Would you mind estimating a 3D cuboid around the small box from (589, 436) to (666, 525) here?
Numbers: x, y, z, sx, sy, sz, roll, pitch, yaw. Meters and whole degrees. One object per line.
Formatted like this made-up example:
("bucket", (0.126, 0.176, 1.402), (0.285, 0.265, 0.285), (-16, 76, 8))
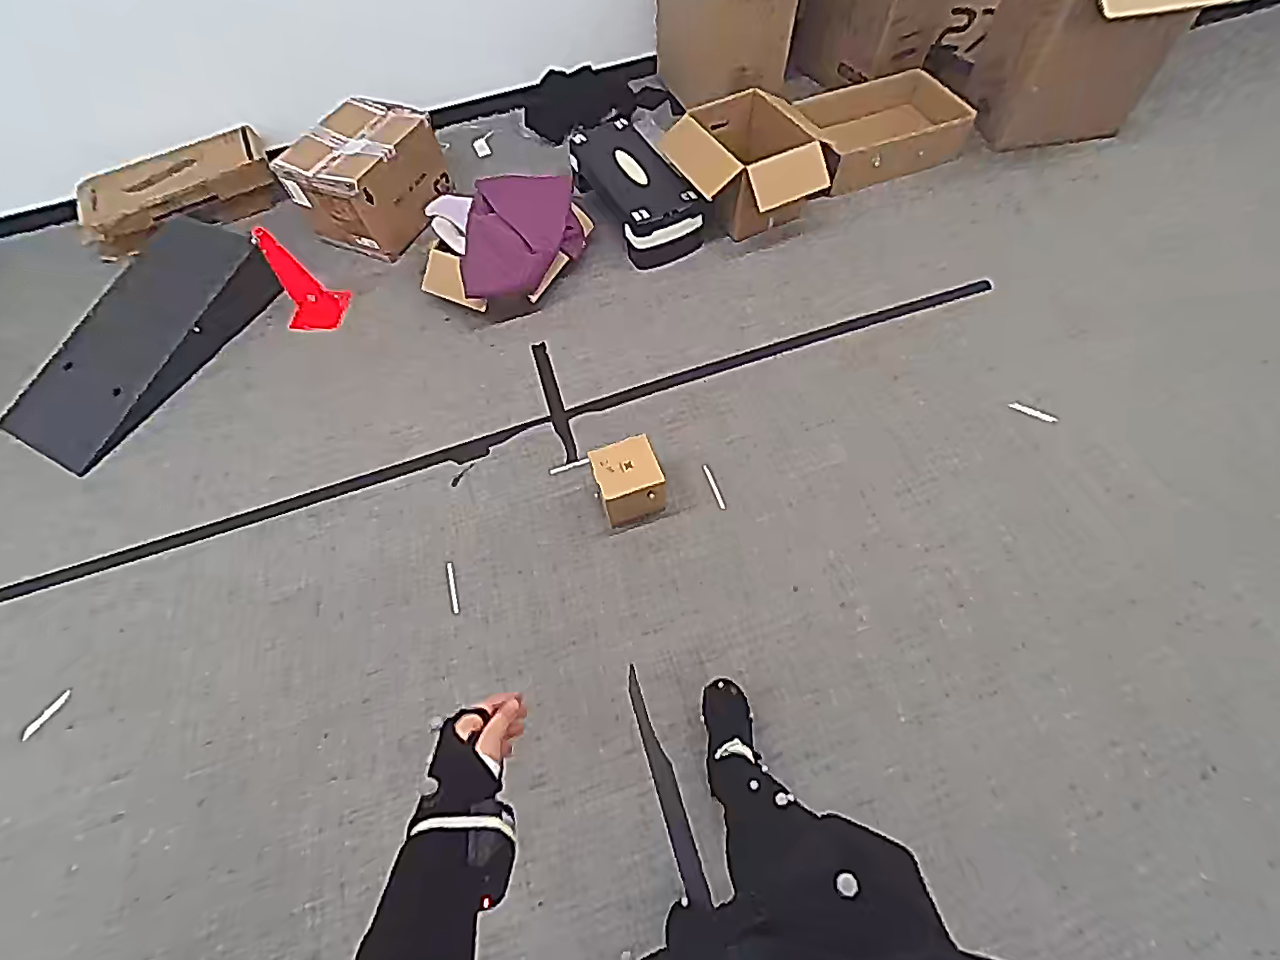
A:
("small box", (-0.033, 0.005, 1.549), (0.179, 0.176, 0.168), (-18, 62, -6))
